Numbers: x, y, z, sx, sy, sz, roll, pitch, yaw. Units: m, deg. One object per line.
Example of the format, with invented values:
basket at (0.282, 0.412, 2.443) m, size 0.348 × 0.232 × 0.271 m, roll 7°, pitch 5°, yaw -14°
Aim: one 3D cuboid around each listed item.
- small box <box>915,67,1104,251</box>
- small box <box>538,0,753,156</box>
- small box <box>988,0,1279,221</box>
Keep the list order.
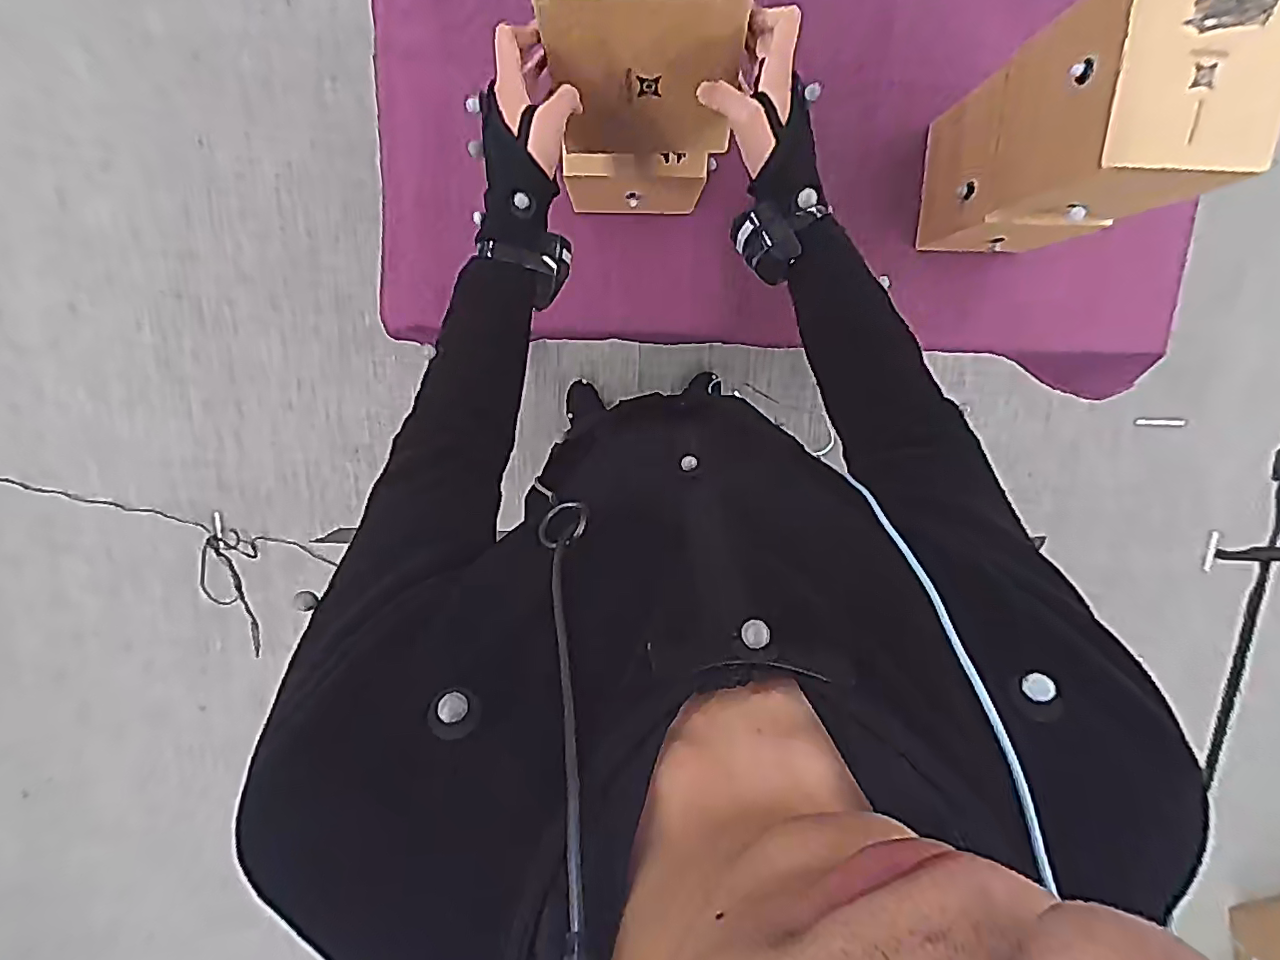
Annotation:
small box at (0.504, -0.421, 0.740) m, size 0.168 × 0.176 × 0.179 m, roll 1°, pitch 102°, yaw -3°
small box at (0.005, -0.444, 0.516) m, size 0.179 × 0.168 × 0.176 m, roll 1°, pitch 82°, yaw 1°
small box at (0.511, -0.395, 0.578) m, size 0.168 × 0.176 × 0.179 m, roll 2°, pitch 103°, yaw -2°
